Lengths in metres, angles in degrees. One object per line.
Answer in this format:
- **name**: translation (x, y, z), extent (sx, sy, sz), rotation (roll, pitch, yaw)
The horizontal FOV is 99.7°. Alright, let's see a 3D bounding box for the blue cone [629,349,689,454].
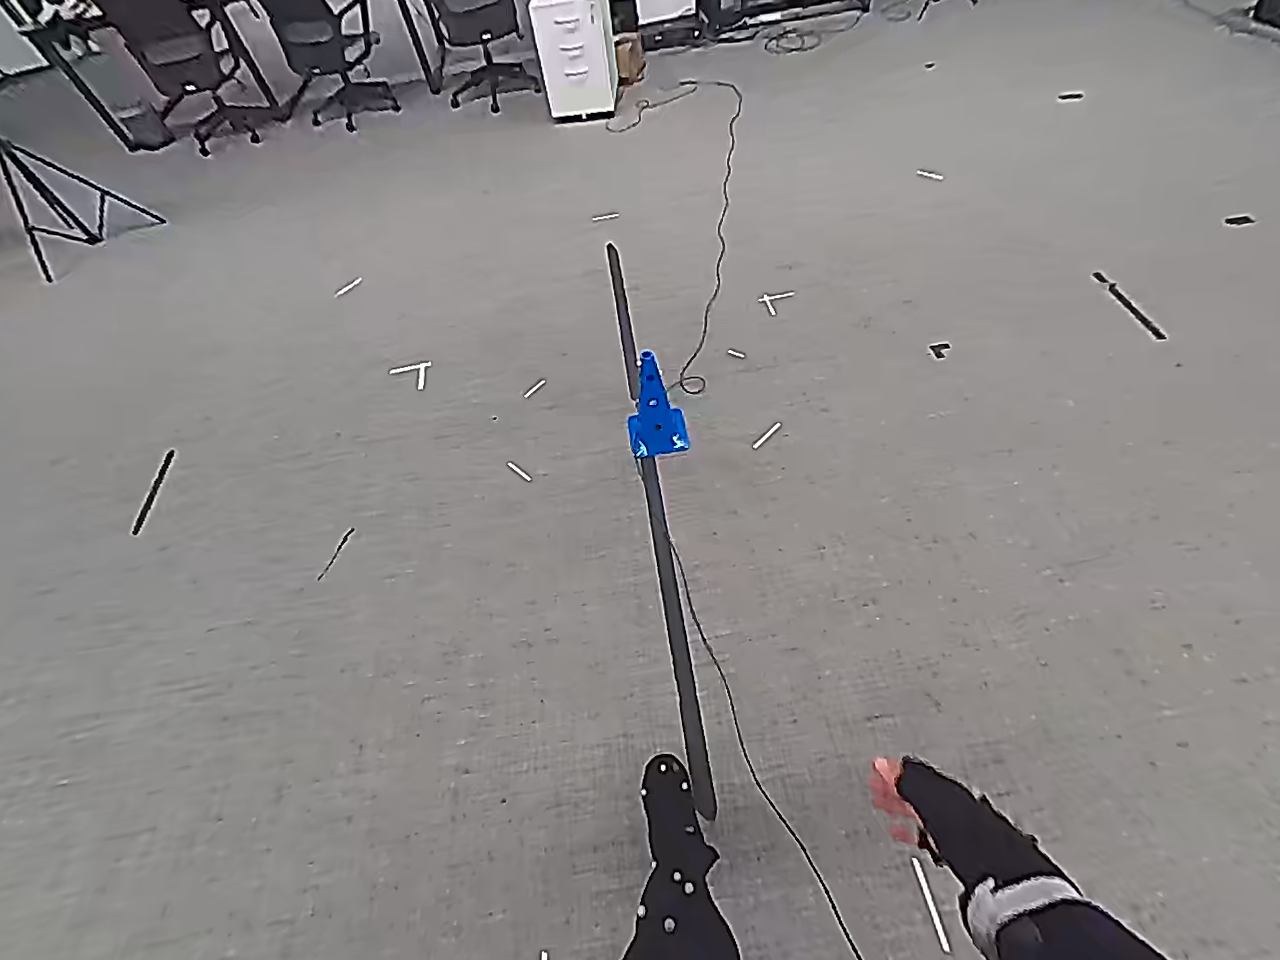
- **blue cone**: translation (0.044, -0.273, 1.748), extent (0.193, 0.380, 0.192), rotation (-11, 53, 0)
